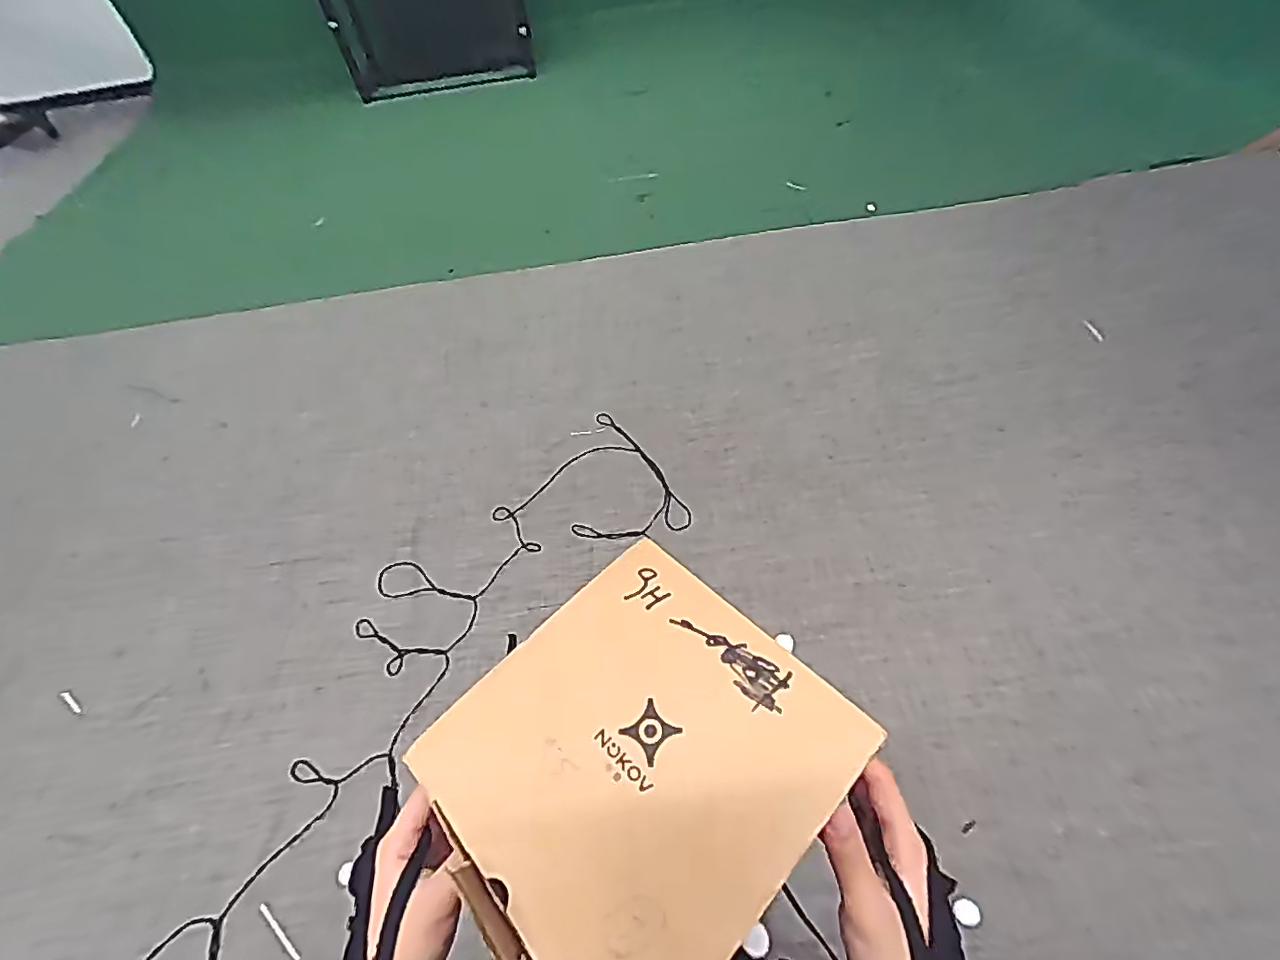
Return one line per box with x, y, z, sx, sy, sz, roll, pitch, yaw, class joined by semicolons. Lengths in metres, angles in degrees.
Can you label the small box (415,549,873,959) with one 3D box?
0.009;0.184;0.331;0.179;0.176;0.168;-41;58;-21;small box
